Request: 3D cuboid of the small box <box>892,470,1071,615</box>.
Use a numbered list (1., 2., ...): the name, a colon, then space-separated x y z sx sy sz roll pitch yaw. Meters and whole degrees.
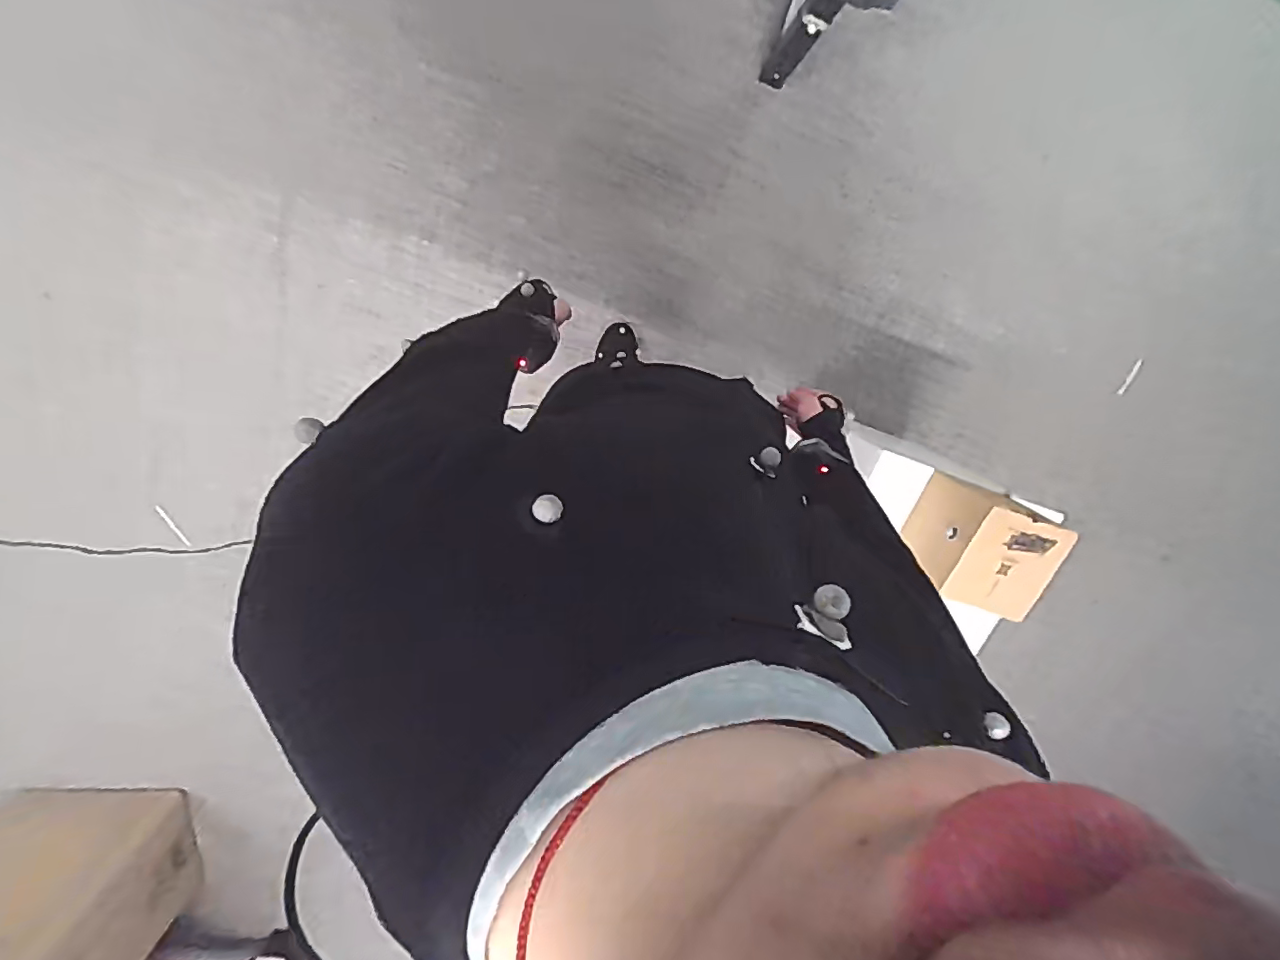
1. small box: 0.584 0.101 0.955 0.168 0.176 0.179 18 109 -10
